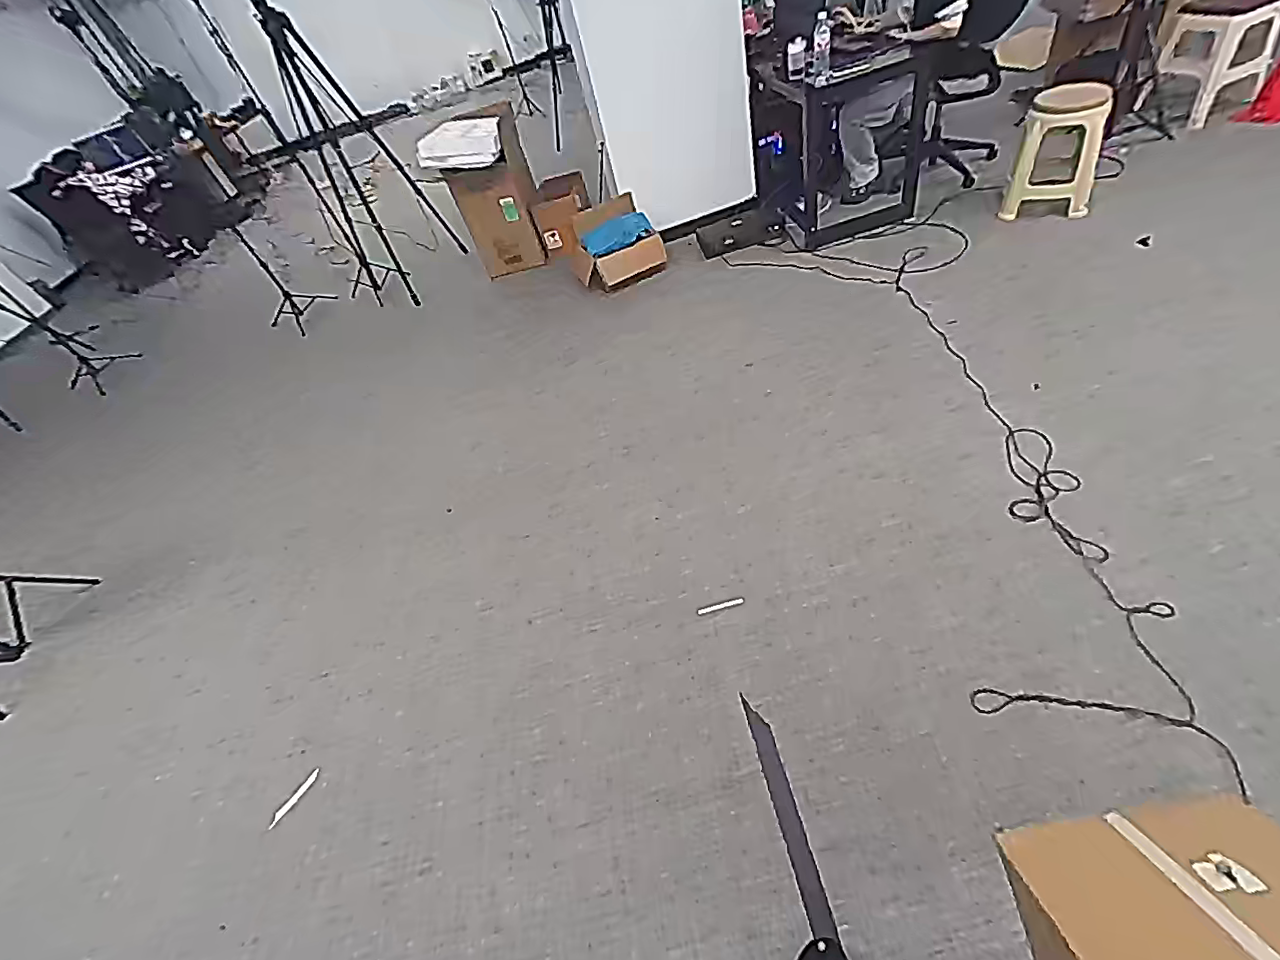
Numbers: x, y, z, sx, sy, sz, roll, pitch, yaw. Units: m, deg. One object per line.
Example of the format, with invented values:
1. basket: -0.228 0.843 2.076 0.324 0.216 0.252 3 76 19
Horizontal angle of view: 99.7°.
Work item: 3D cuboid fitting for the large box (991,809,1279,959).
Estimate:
1. large box: 0.667 0.634 0.568 0.320 0.408 0.320 -15 85 10
